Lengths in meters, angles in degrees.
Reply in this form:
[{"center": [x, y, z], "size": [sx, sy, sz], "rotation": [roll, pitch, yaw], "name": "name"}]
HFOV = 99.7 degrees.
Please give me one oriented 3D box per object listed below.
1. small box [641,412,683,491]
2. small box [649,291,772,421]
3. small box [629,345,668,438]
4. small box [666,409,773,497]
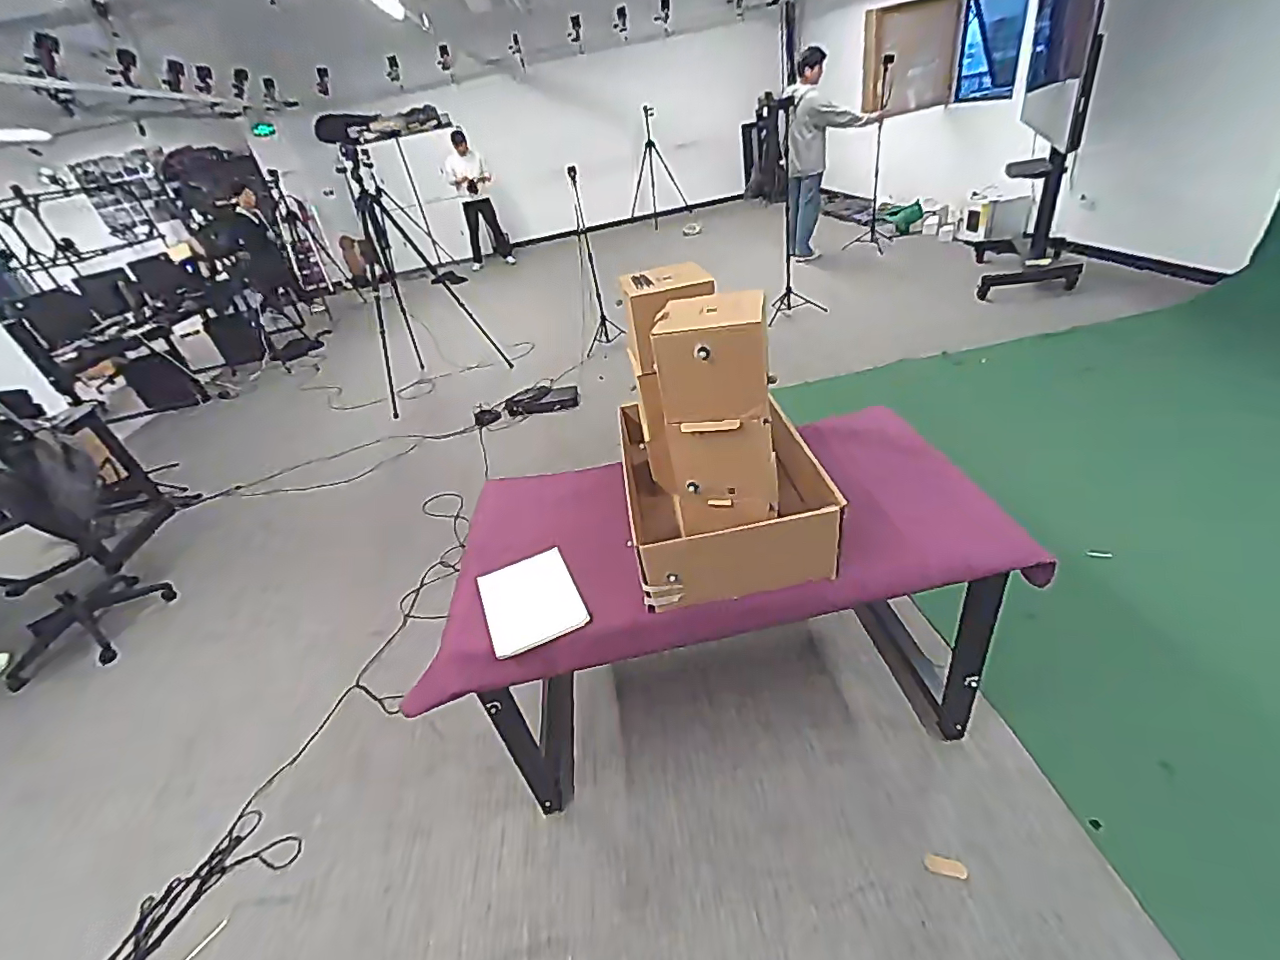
[{"center": [0.103, -0.086, 1.359], "size": [0.168, 0.176, 0.179], "rotation": [-11, 35, 1], "name": "small box"}, {"center": [0.131, -0.211, 0.937], "size": [0.179, 0.176, 0.168], "rotation": [-2, 35, 17], "name": "small box"}, {"center": [0.081, -0.216, 1.264], "size": [0.179, 0.176, 0.168], "rotation": [-12, 35, -1], "name": "small box"}, {"center": [0.160, -0.080, 1.029], "size": [0.168, 0.176, 0.179], "rotation": [-1, 34, 20], "name": "small box"}]
